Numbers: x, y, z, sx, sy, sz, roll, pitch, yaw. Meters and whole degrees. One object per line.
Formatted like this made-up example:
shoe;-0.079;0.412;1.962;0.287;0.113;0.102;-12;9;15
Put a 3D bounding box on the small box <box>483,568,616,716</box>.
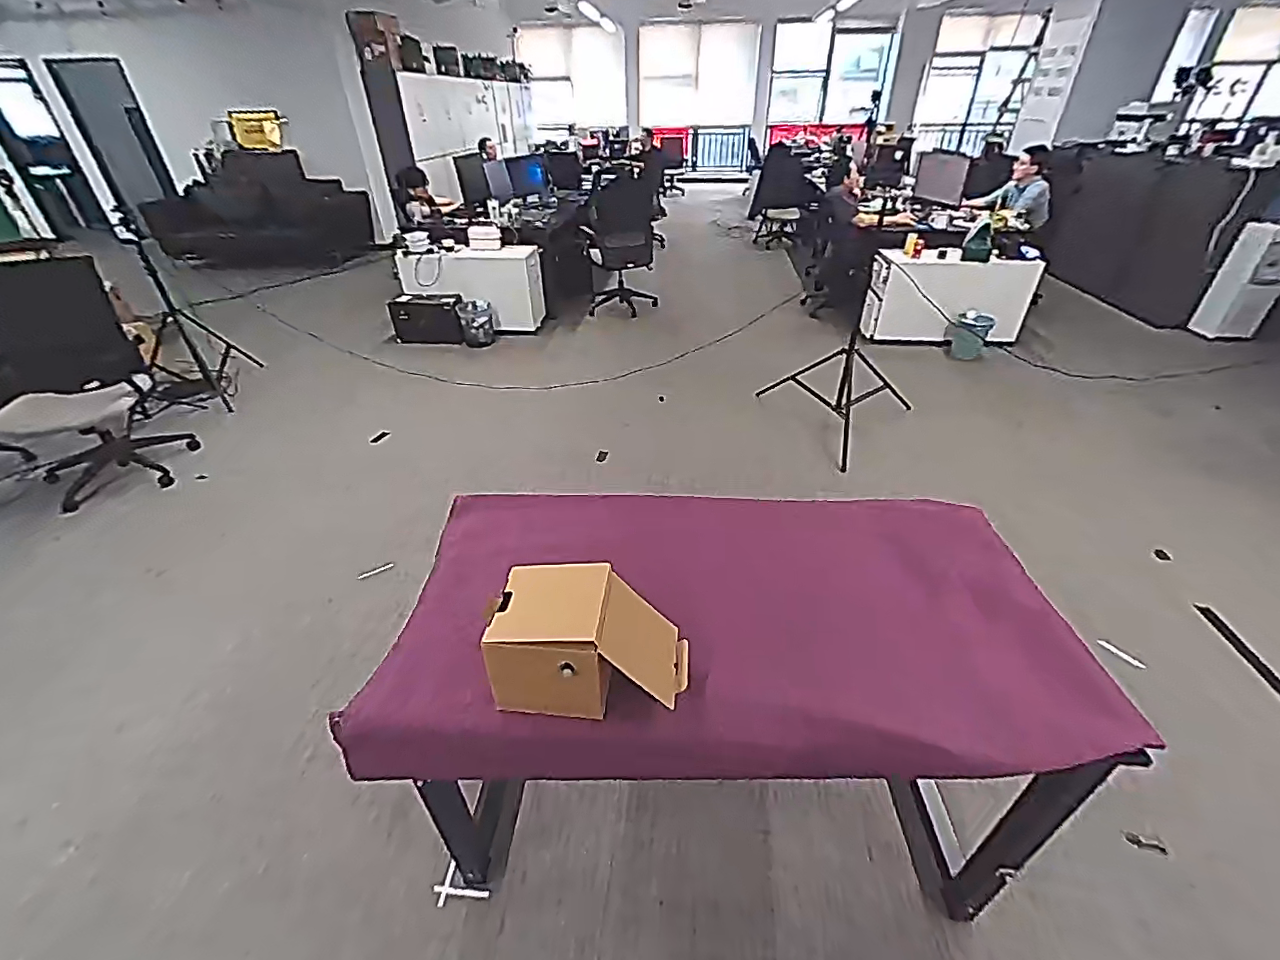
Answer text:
small box;-0.136;0.267;0.893;0.179;0.176;0.168;2;33;6
